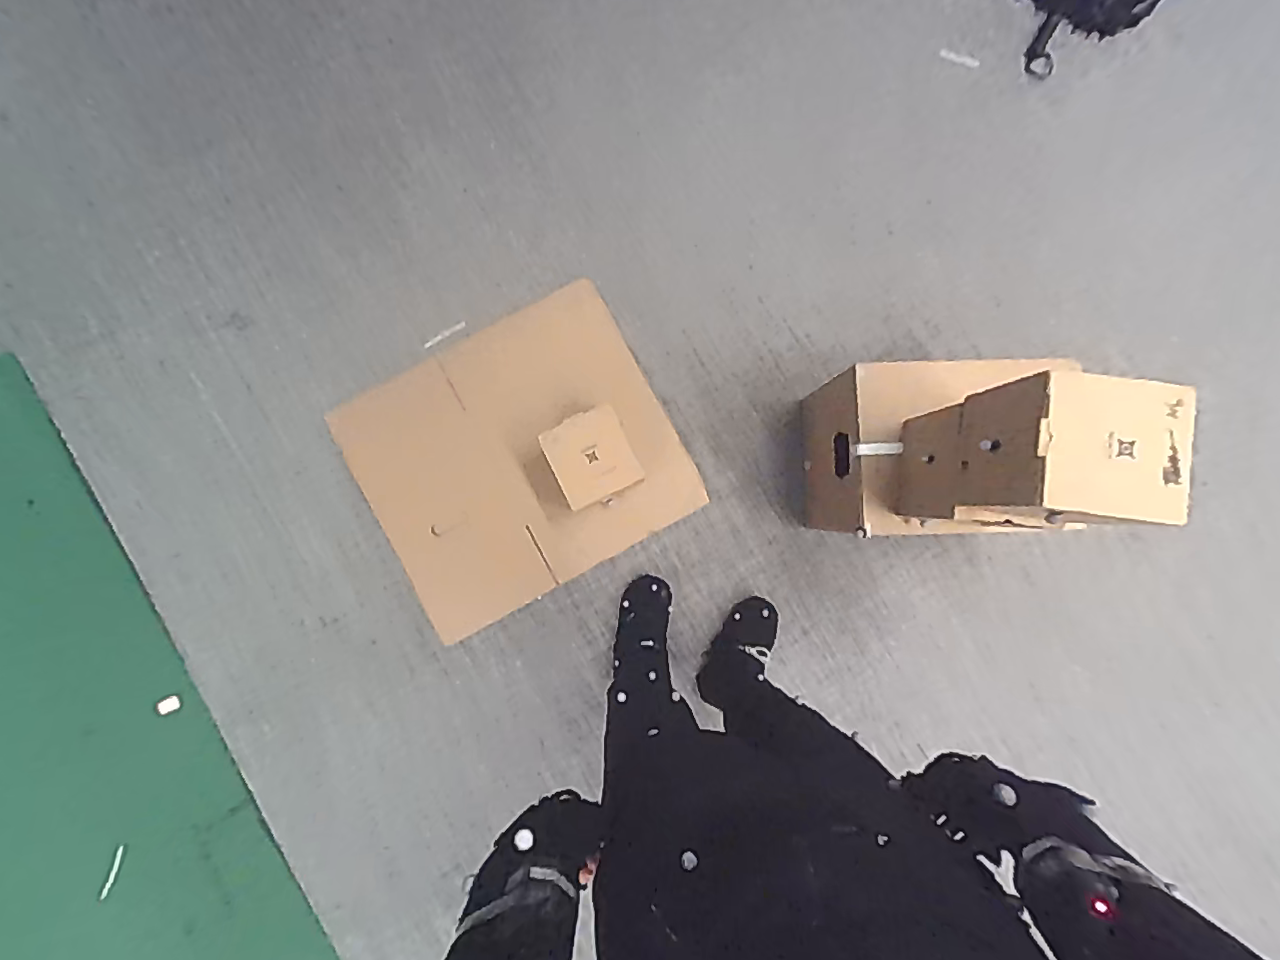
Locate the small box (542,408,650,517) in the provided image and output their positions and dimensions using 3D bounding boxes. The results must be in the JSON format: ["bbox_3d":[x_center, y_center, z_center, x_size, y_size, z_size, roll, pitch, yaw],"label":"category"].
[{"bbox_3d":[-0.090,-0.029,1.167,0.168,0.176,0.179,-27,87,-1],"label":"small box"}]

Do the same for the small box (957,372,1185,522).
[{"bbox_3d":[0.549,-0.033,0.713,0.179,0.176,0.168,4,85,-1],"label":"small box"}]

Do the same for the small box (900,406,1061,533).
[{"bbox_3d":[0.540,-0.012,0.872,0.168,0.176,0.179,5,86,0],"label":"small box"}]
